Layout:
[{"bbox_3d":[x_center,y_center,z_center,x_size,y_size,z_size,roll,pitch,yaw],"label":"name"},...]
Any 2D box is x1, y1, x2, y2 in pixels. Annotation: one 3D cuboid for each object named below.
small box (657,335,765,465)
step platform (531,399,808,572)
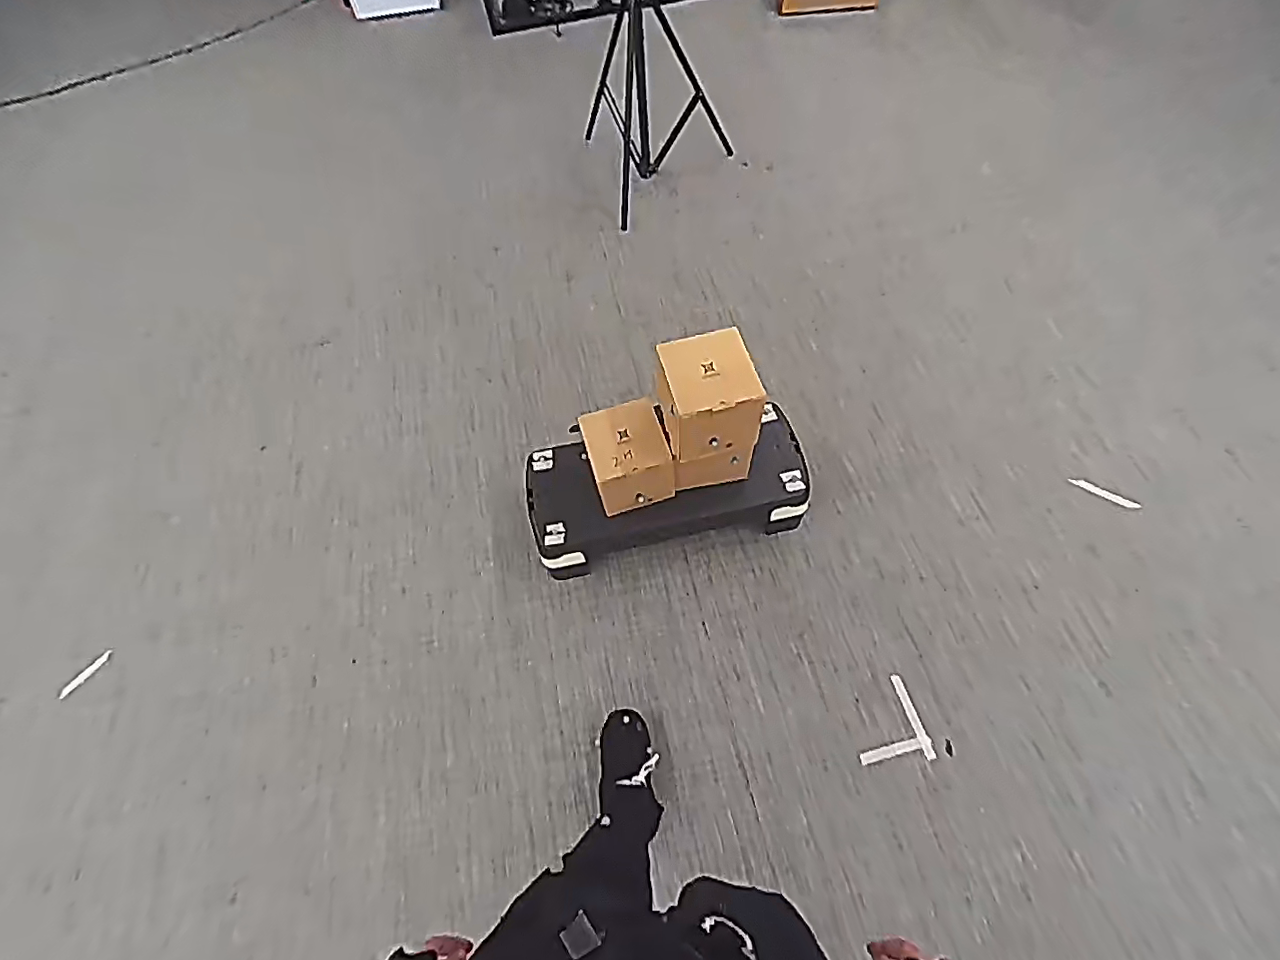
[{"bbox_3d":[0.132,-0.156,1.084,0.168,0.176,0.179,-14,62,-4],"label":"small box"},{"bbox_3d":[0.069,0.010,1.382,0.684,0.204,0.286,-13,61,-2],"label":"step platform"}]
